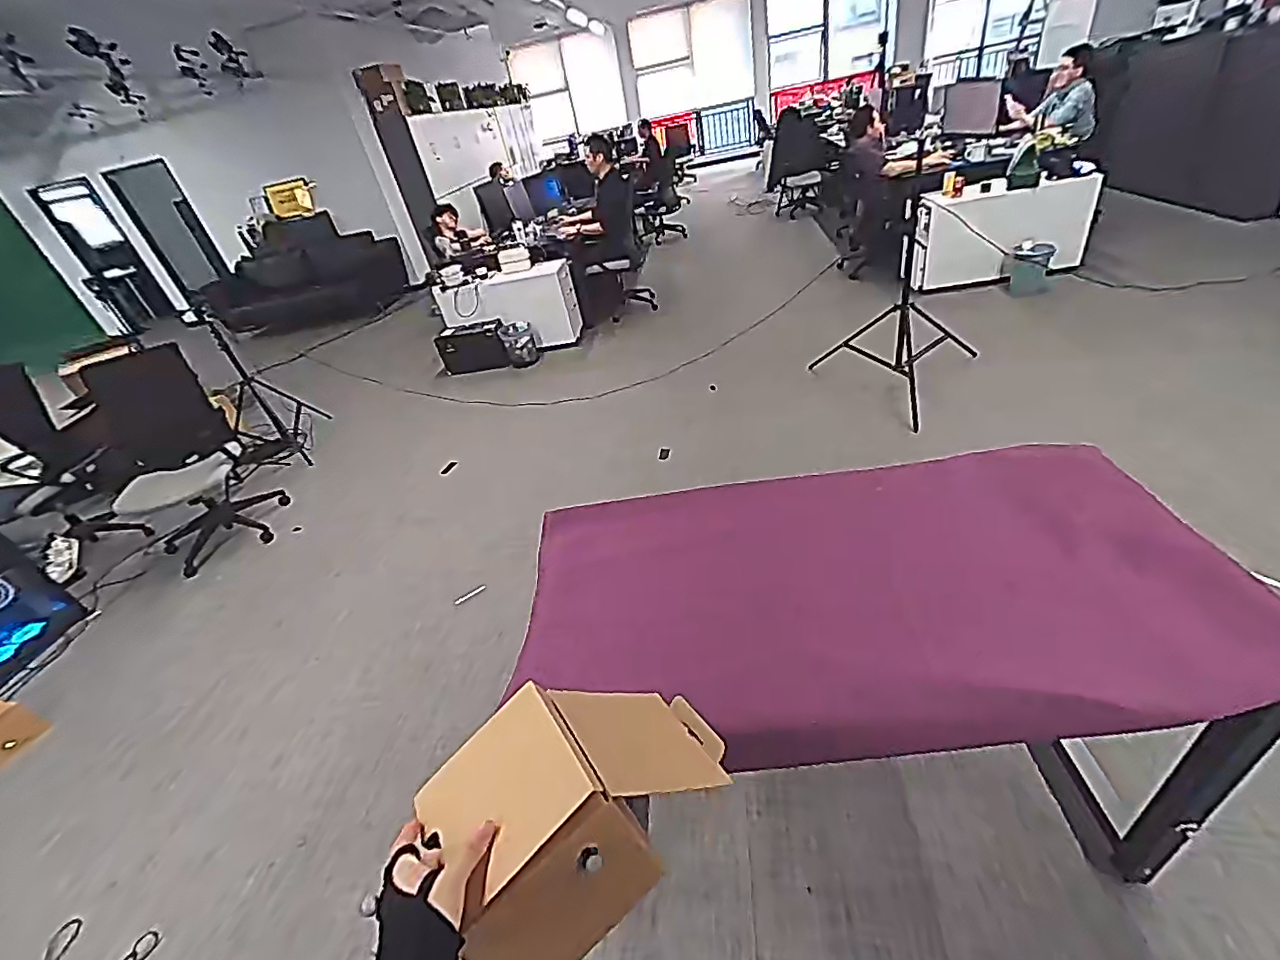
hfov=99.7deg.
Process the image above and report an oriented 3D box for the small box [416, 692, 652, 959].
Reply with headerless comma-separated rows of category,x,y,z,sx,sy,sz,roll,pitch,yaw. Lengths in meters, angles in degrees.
small box,-0.106,0.380,0.584,0.179,0.176,0.168,-35,31,-17
